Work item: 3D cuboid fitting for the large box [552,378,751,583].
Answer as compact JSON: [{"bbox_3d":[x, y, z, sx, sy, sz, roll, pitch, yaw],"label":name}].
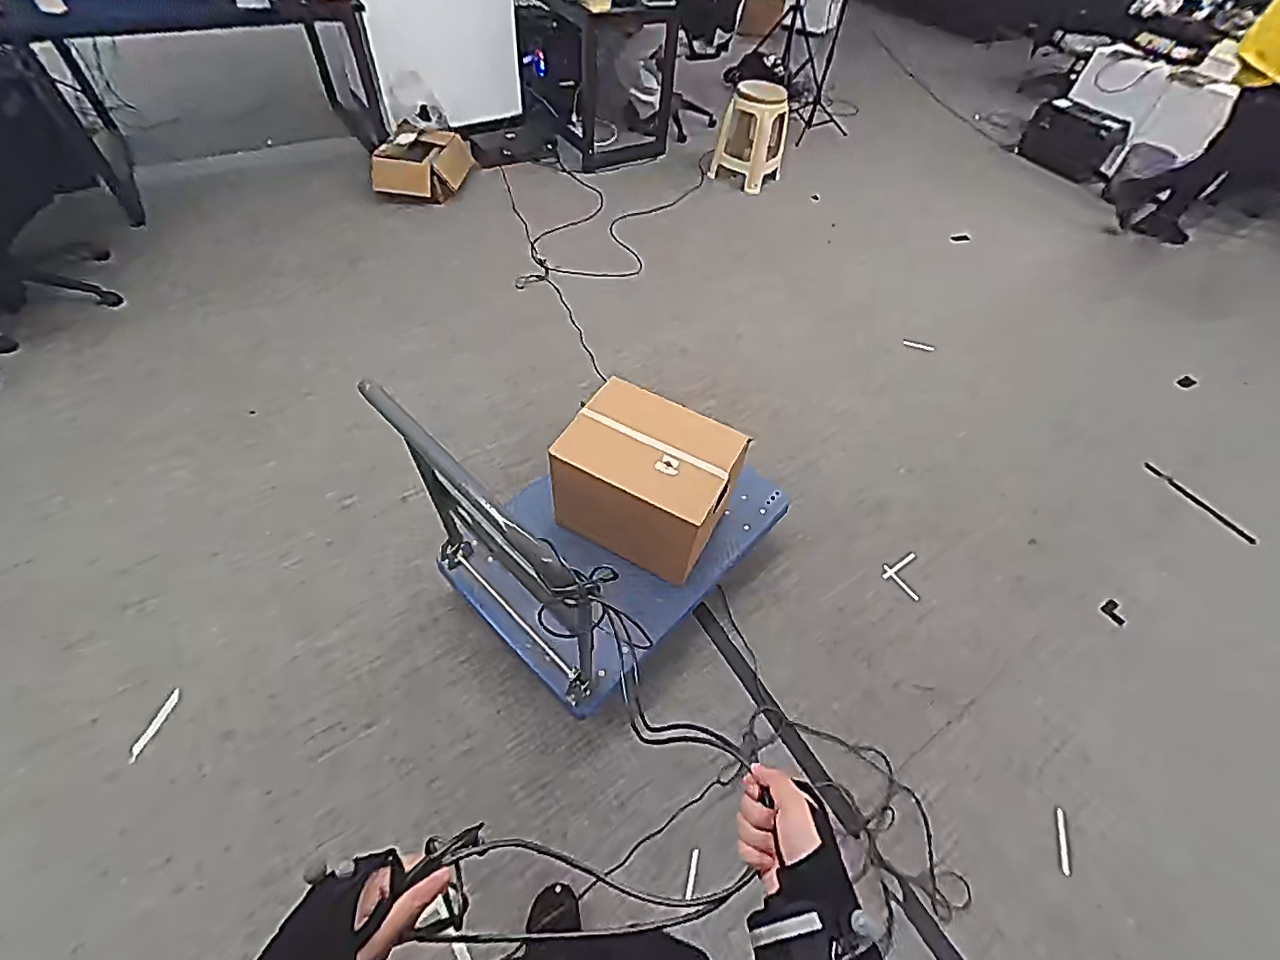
[{"bbox_3d":[0.019,0.002,1.425,0.408,0.320,0.320,26,57,13],"label":"large box"}]
